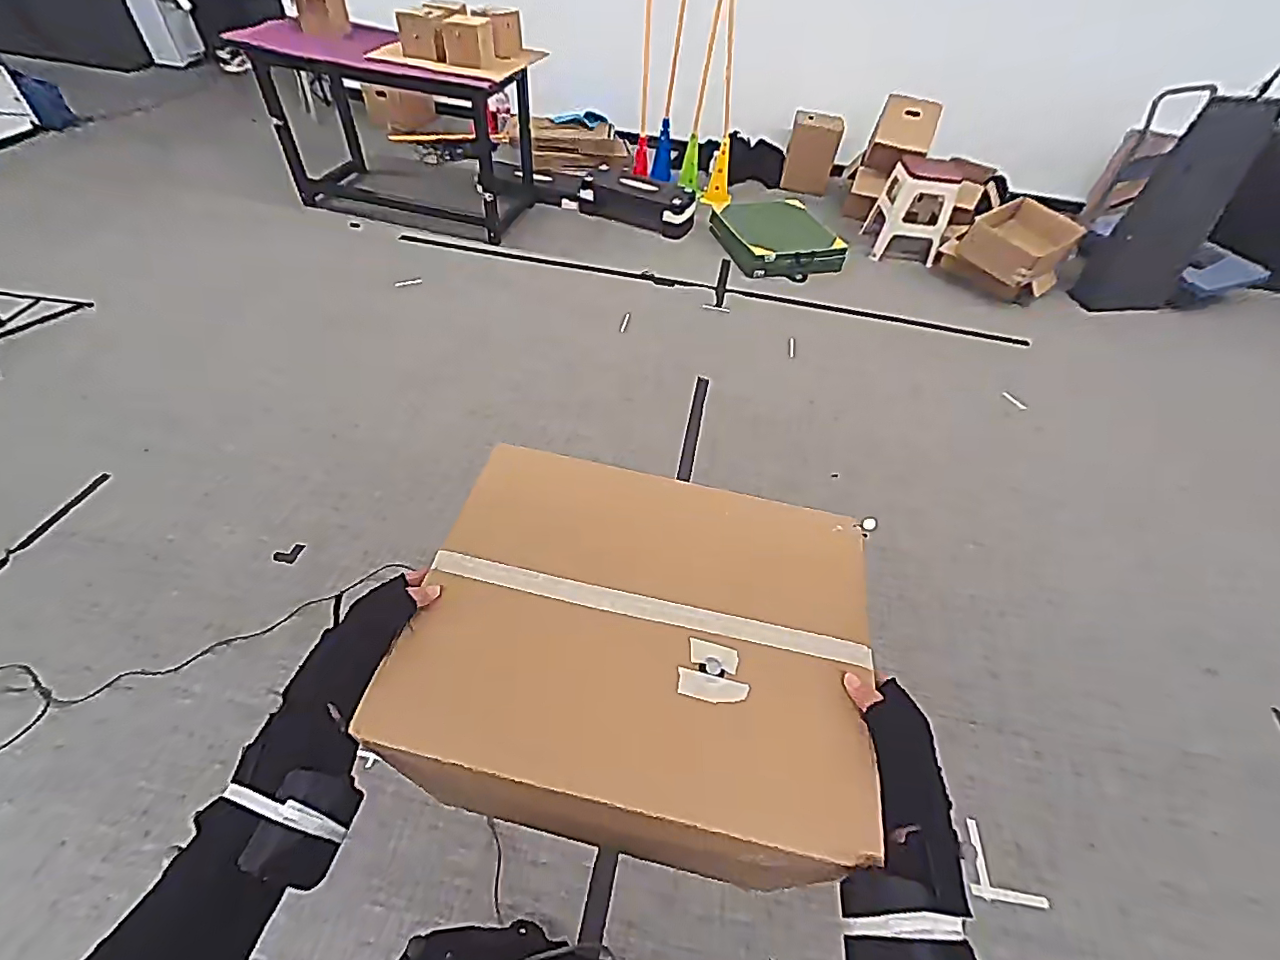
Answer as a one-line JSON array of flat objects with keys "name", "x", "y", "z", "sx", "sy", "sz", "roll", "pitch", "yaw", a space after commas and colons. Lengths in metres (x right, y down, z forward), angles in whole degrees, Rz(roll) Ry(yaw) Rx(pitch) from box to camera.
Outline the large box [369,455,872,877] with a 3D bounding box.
[{"name": "large box", "x": -0.006, "y": 0.216, "z": 0.619, "sx": 0.408, "sy": 0.320, "sz": 0.320, "roll": 12, "pitch": 52, "yaw": 4}]
